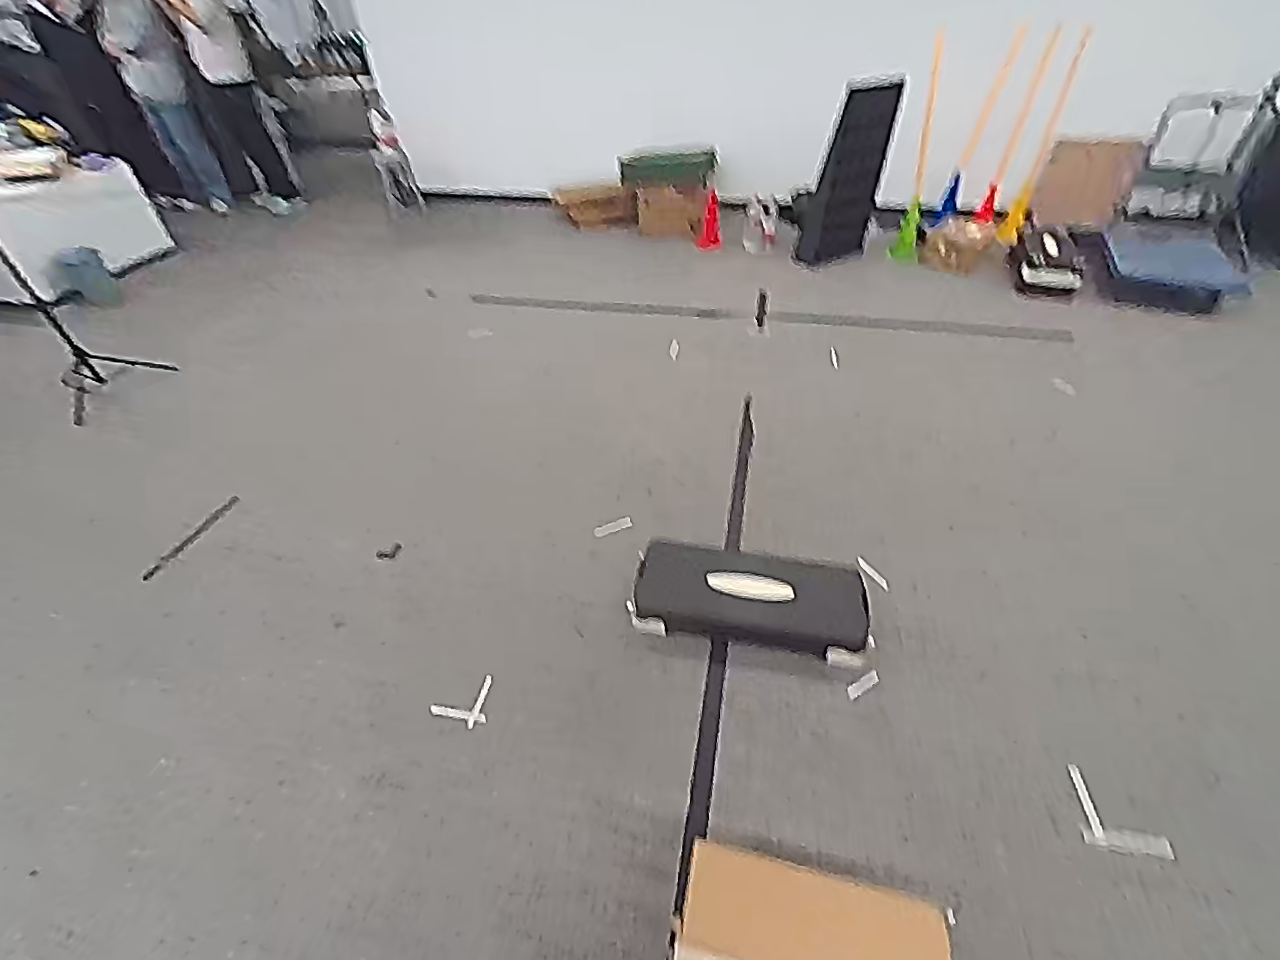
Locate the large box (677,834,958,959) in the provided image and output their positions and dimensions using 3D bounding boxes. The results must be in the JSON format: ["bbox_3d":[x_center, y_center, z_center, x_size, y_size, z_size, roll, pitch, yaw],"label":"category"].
[{"bbox_3d":[0.262,0.840,0.881,0.408,0.320,0.320,9,44,10],"label":"large box"}]
